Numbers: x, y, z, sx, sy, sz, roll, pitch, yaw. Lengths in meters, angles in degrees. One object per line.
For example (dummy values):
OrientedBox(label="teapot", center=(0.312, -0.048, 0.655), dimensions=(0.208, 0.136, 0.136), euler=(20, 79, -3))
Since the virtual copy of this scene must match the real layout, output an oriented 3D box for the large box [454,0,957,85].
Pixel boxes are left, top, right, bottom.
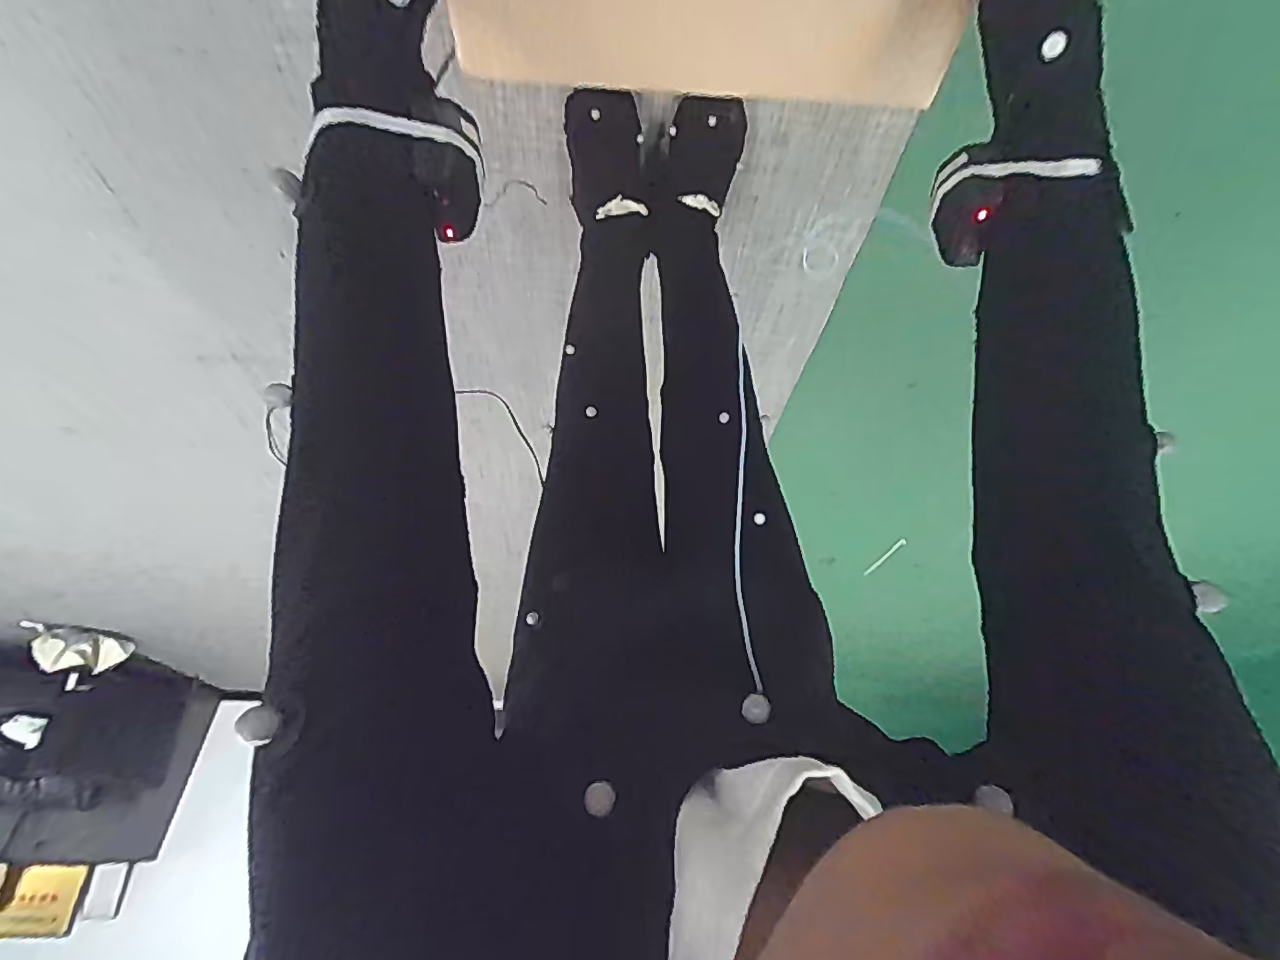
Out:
OrientedBox(label="large box", center=(0.053, -0.555, 0.425), dimensions=(0.408, 0.320, 0.320), euler=(1, 146, -3))
